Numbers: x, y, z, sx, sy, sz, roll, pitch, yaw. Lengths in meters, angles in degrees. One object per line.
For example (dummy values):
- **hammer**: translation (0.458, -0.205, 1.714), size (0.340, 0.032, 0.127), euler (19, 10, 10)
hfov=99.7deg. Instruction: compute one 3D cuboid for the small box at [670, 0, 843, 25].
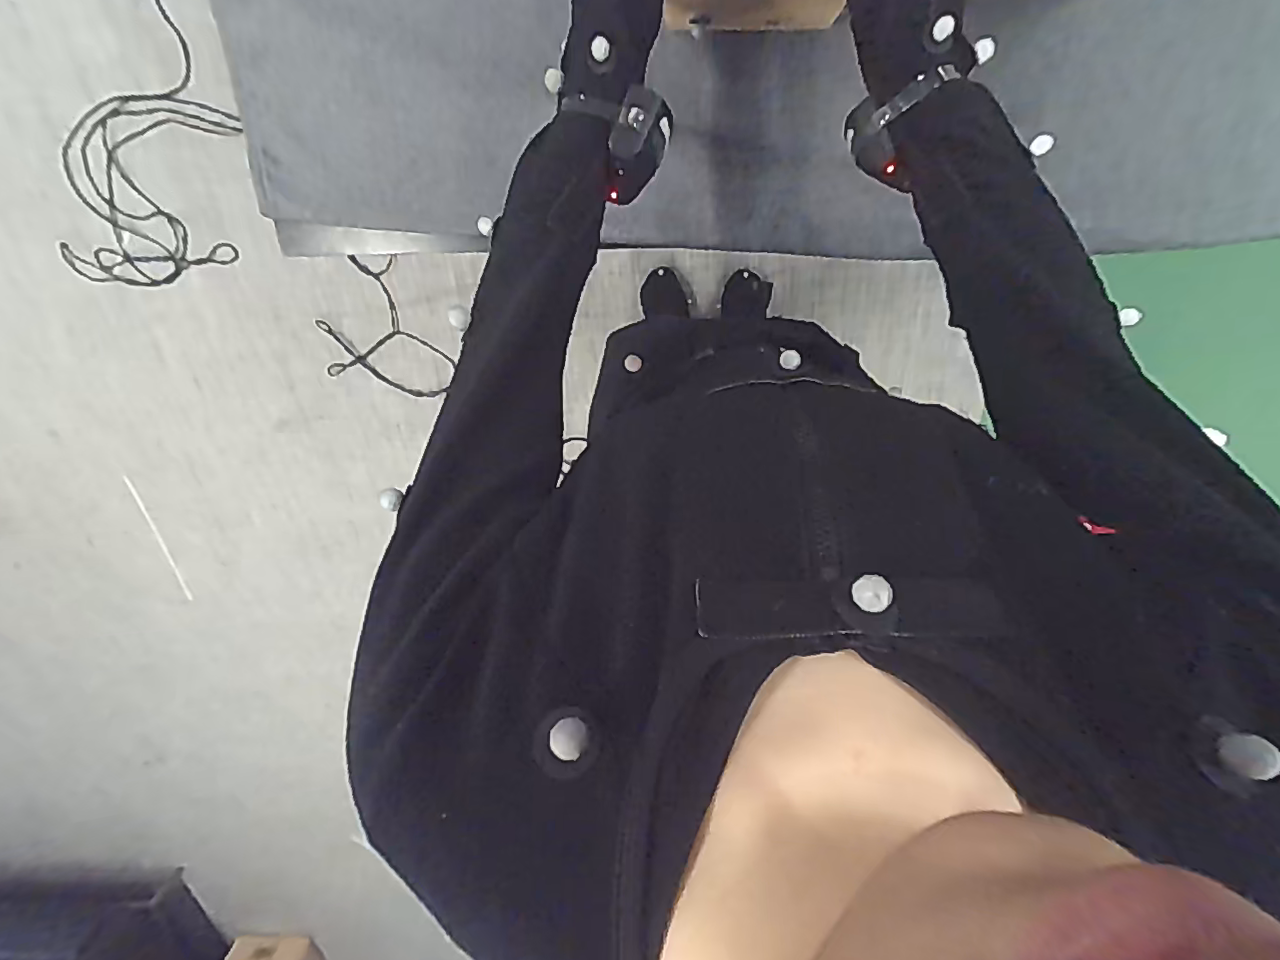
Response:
- **small box**: translation (0.106, -0.501, 0.438), size (0.168, 0.176, 0.179), euler (2, 113, 4)
